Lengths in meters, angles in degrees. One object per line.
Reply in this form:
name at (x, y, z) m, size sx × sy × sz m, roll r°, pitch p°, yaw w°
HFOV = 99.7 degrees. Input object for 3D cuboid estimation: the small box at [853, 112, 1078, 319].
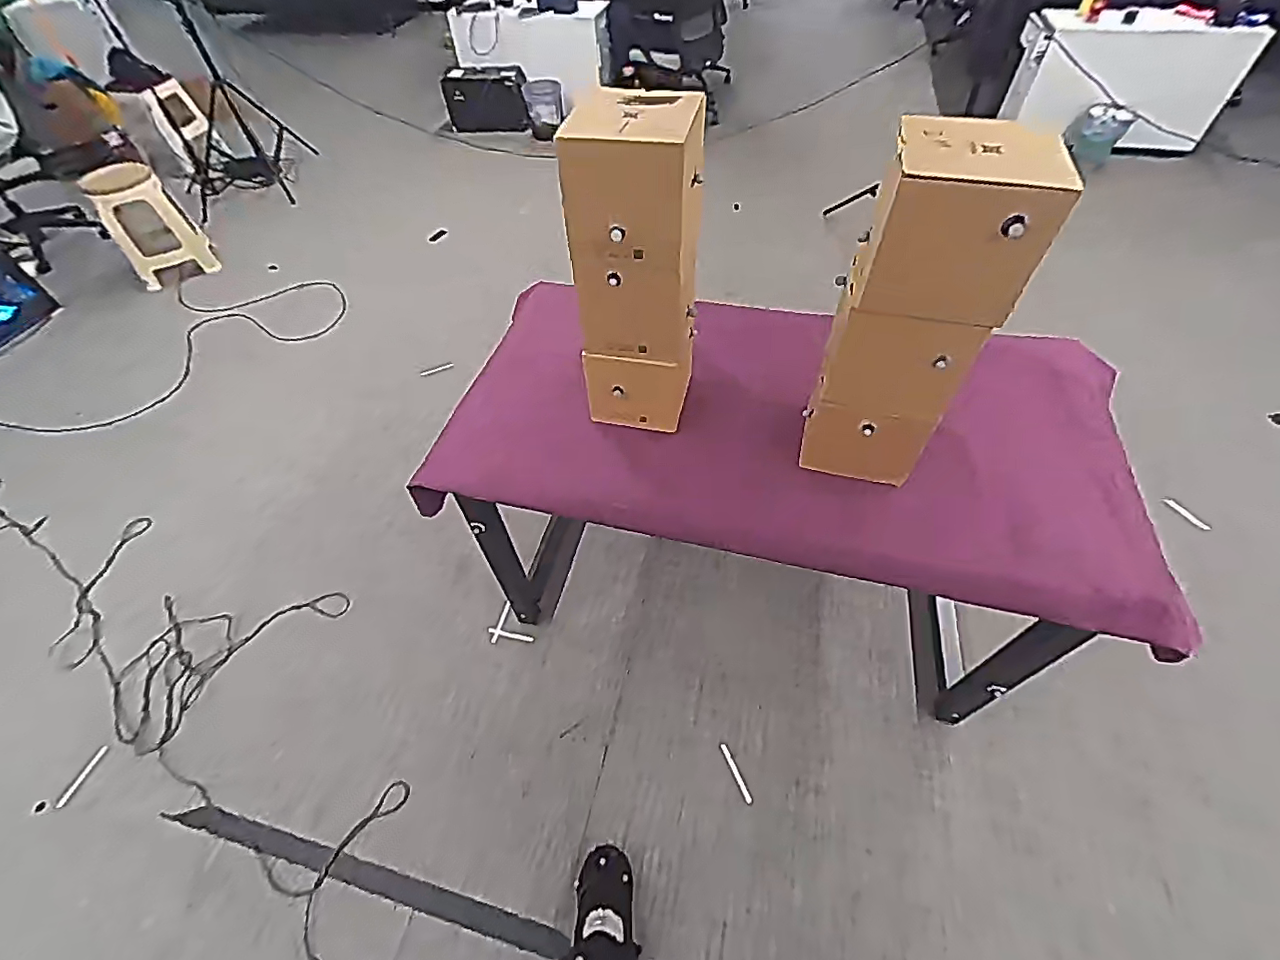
small box at (0.377, -0.318, 0.661) m, size 0.179 × 0.176 × 0.168 m, roll 11°, pitch 53°, yaw 11°

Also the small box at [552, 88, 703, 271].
small box at (-0.010, -0.423, 0.762) m, size 0.168 × 0.176 × 0.179 m, roll 8°, pitch 53°, yaw 9°

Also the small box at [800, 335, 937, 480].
small box at (0.381, -0.121, 0.924) m, size 0.179 × 0.176 × 0.168 m, roll 12°, pitch 54°, yaw 11°

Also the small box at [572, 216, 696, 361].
small box at (-0.004, -0.322, 0.893) m, size 0.168 × 0.176 × 0.179 m, roll 7°, pitch 52°, yaw 9°

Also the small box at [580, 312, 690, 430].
small box at (0.000, -0.215, 1.017) m, size 0.168 × 0.176 × 0.179 m, roll 9°, pitch 52°, yaw 10°
